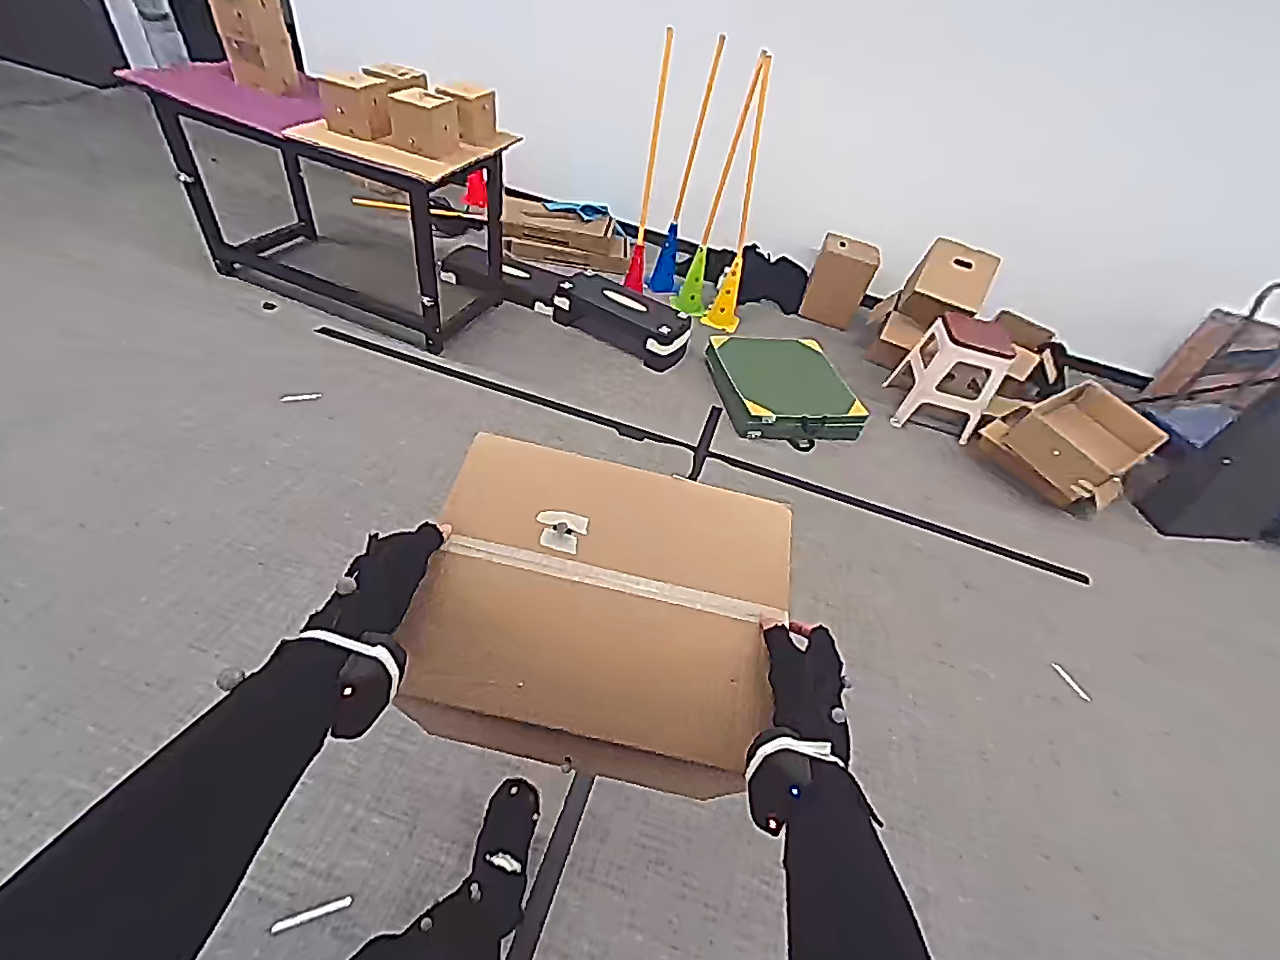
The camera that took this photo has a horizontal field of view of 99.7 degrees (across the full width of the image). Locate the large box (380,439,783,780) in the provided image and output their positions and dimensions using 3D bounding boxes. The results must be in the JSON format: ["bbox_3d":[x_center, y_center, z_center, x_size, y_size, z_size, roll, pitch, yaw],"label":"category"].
[{"bbox_3d":[-0.052,0.191,0.733,0.408,0.320,0.320,13,55,0],"label":"large box"}]
